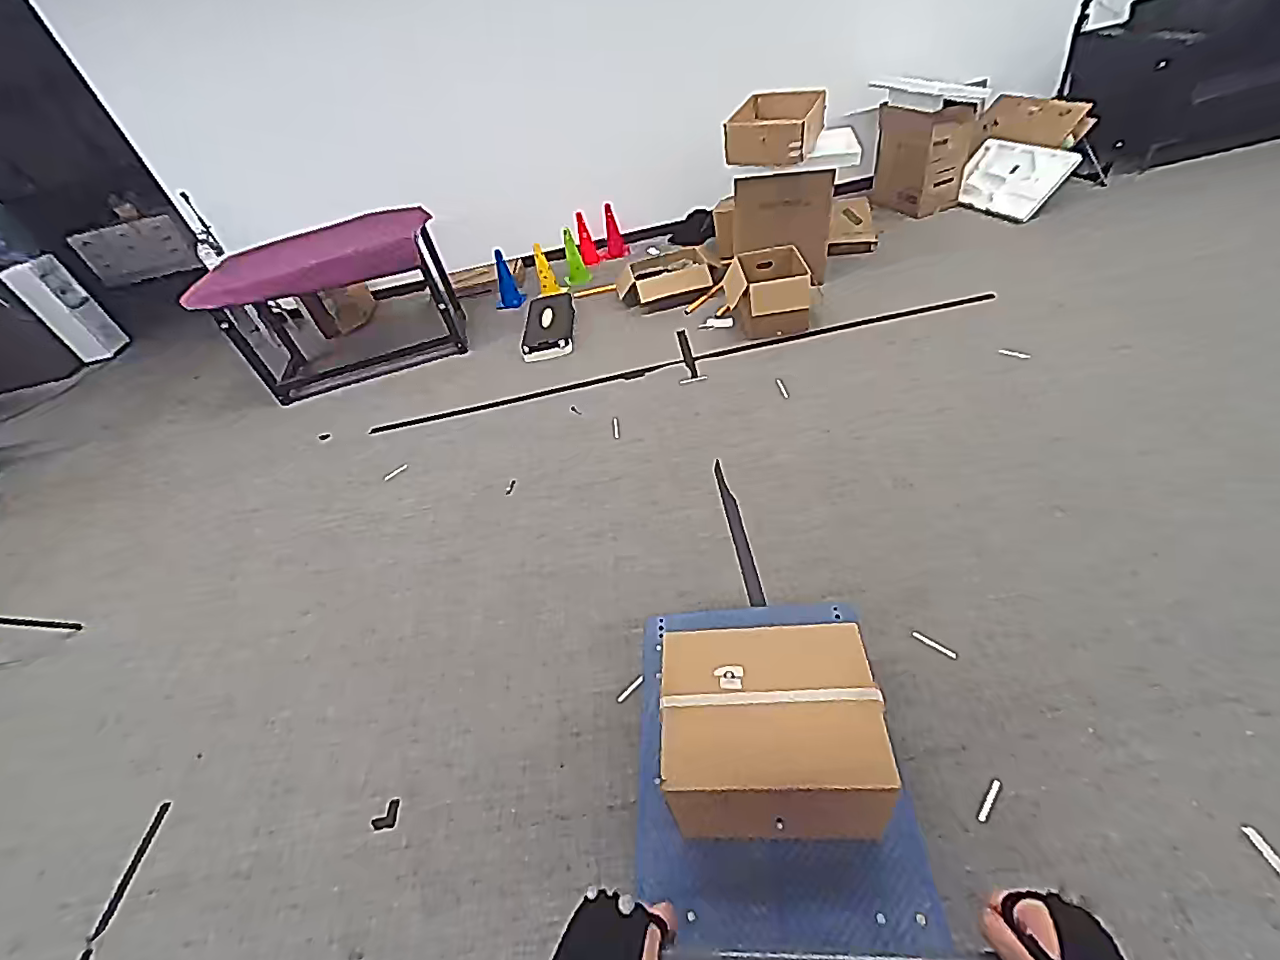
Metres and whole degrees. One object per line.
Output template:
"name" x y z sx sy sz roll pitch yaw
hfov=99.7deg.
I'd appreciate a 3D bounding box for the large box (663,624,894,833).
"large box" 0.272 0.535 1.150 0.408 0.320 0.320 -7 42 10
